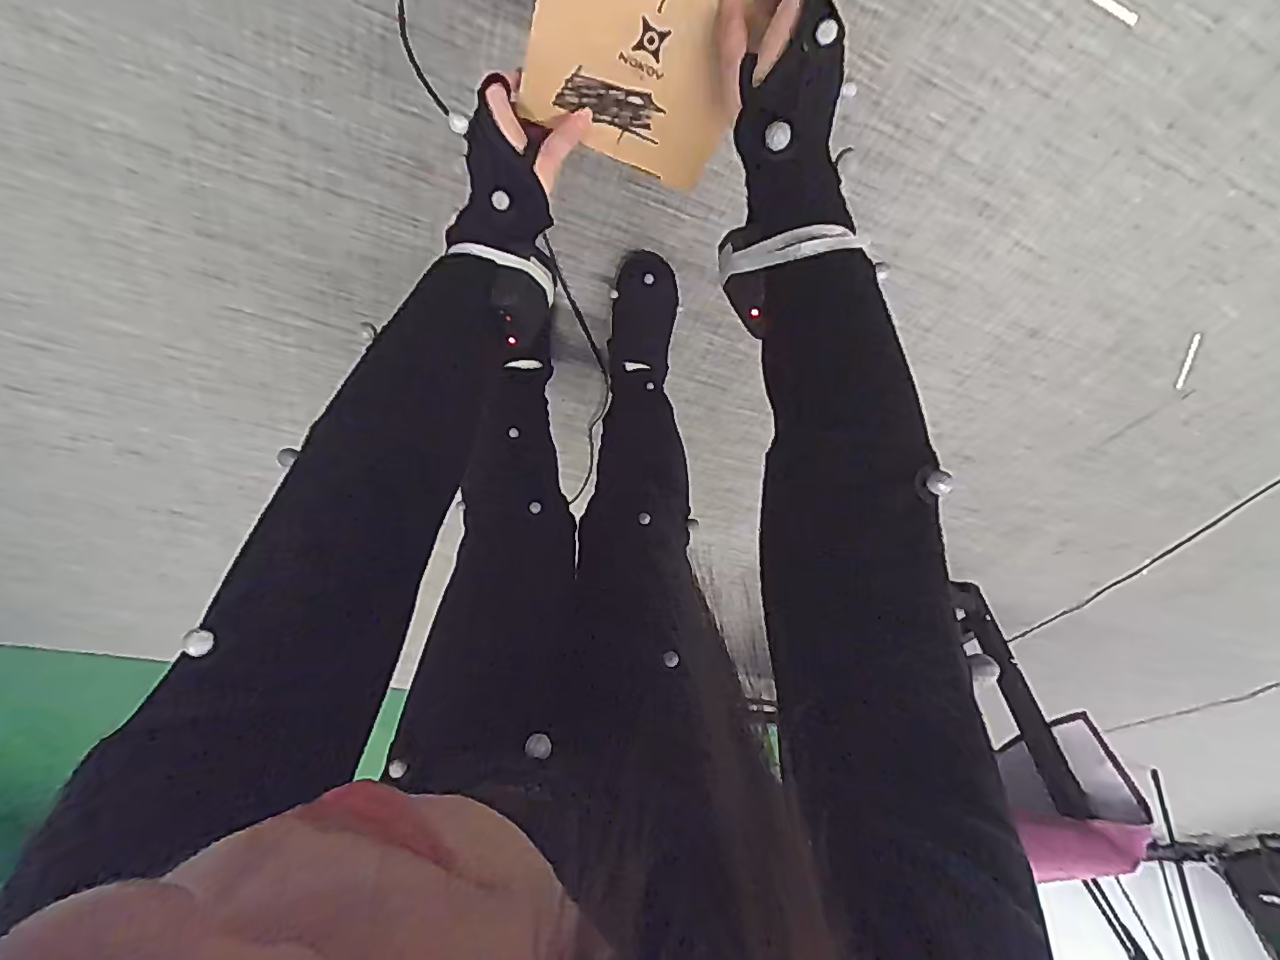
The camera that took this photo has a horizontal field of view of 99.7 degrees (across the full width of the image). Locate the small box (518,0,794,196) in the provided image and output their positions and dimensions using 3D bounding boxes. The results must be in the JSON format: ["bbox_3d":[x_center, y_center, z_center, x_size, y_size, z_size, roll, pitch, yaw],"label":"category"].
[{"bbox_3d":[0.009,-0.390,0.448,0.168,0.176,0.179,14,150,-17],"label":"small box"}]
